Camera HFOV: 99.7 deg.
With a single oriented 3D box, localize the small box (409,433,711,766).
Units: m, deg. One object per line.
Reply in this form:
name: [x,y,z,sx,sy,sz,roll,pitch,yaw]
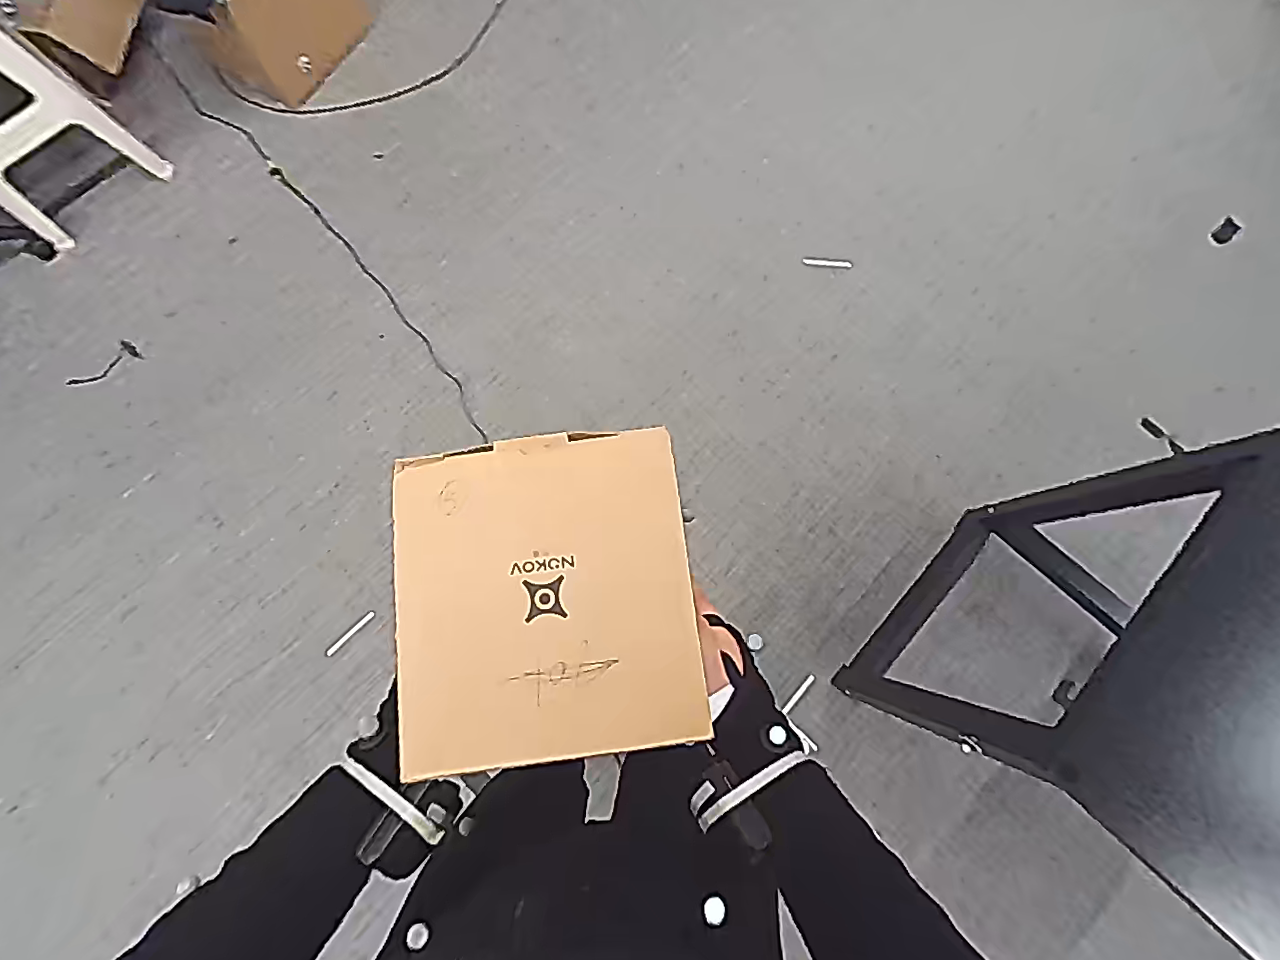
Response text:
small box: [-0.051,0.081,0.391,0.168,0.176,0.179,-7,78,-1]
